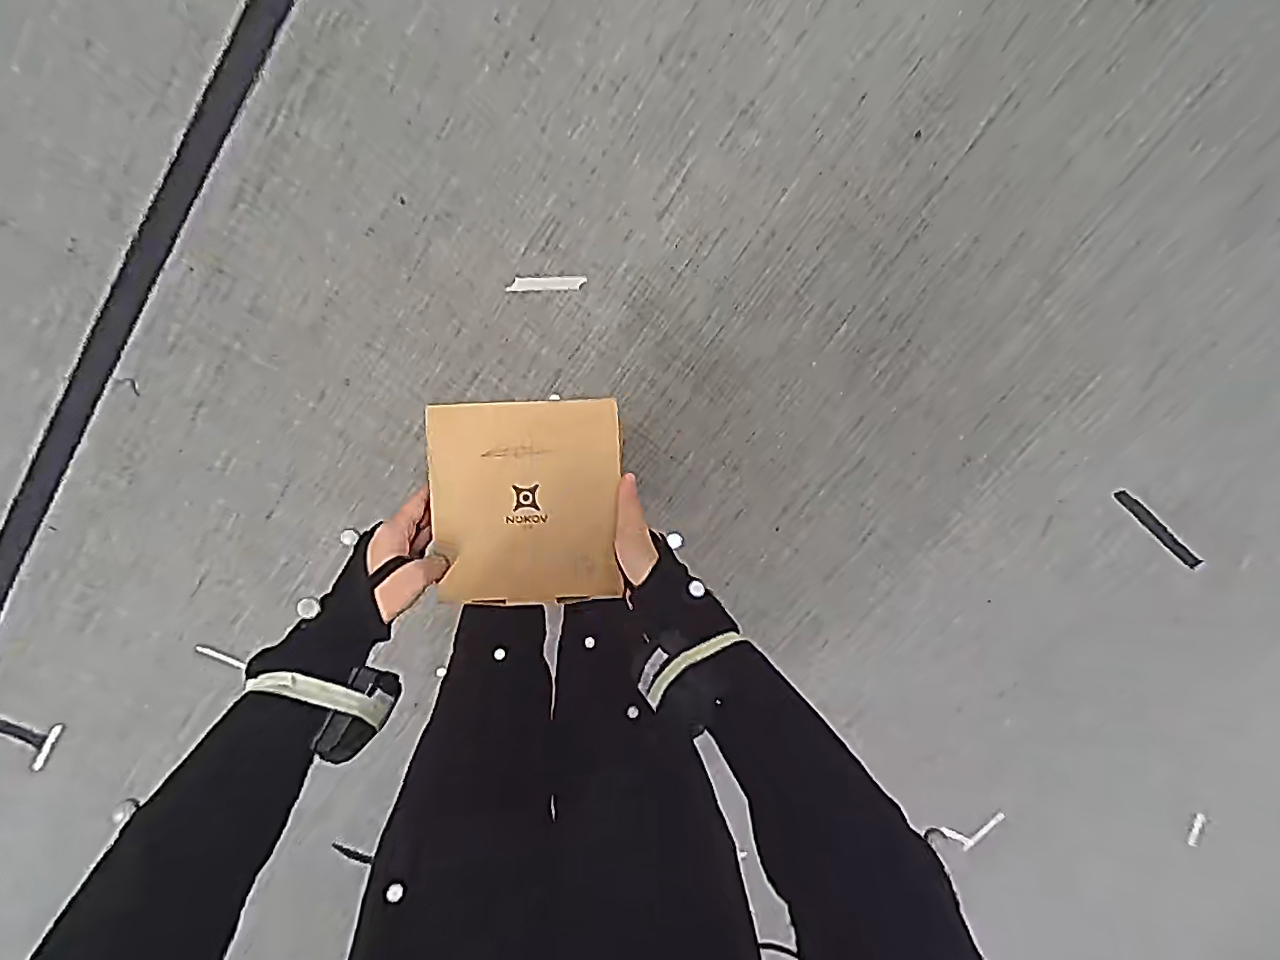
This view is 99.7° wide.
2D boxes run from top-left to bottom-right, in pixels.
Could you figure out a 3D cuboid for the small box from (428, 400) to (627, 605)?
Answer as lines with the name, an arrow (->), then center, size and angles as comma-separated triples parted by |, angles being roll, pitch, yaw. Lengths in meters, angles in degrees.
small box -> -0.100, 0.017, 0.551 | 0.168, 0.176, 0.179 | -3, 91, -1
